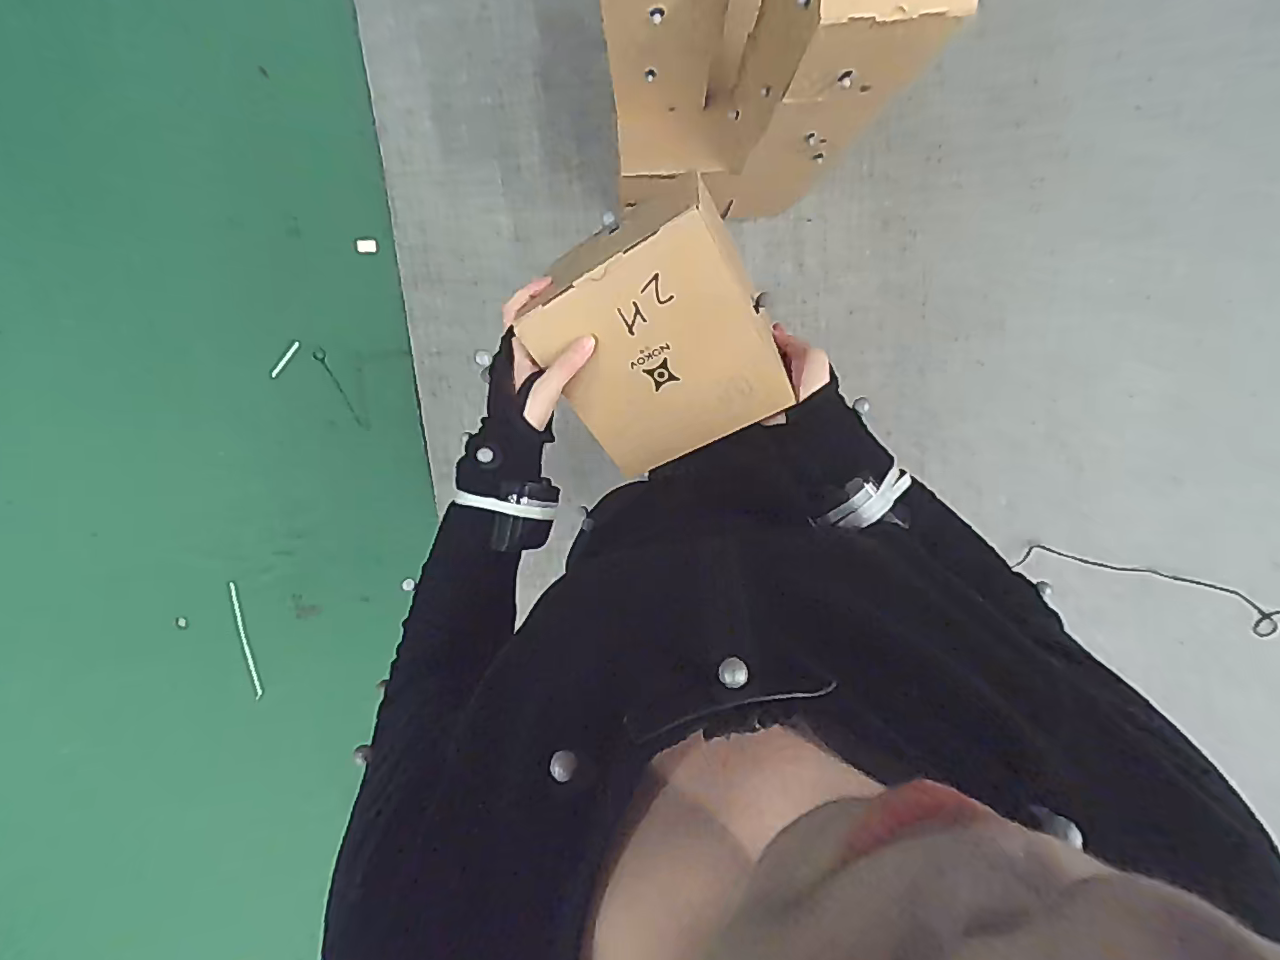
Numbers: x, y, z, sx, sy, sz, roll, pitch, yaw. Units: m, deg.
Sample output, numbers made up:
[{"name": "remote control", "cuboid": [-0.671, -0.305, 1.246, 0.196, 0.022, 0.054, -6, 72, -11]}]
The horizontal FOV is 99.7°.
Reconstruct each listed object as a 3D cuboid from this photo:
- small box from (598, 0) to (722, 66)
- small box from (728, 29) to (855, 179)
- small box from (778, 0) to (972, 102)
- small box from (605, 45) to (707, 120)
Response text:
[{"name": "small box", "cuboid": [0.026, -0.729, 0.769, 0.179, 0.176, 0.168, -4, 100, 3]}, {"name": "small box", "cuboid": [0.259, -0.650, 0.948, 0.179, 0.176, 0.168, -5, 100, 2]}, {"name": "small box", "cuboid": [0.261, -0.581, 0.629, 0.168, 0.176, 0.179, -3, 101, 1]}, {"name": "small box", "cuboid": [0.024, -0.761, 0.933, 0.168, 0.176, 0.179, -3, 99, 2]}]
